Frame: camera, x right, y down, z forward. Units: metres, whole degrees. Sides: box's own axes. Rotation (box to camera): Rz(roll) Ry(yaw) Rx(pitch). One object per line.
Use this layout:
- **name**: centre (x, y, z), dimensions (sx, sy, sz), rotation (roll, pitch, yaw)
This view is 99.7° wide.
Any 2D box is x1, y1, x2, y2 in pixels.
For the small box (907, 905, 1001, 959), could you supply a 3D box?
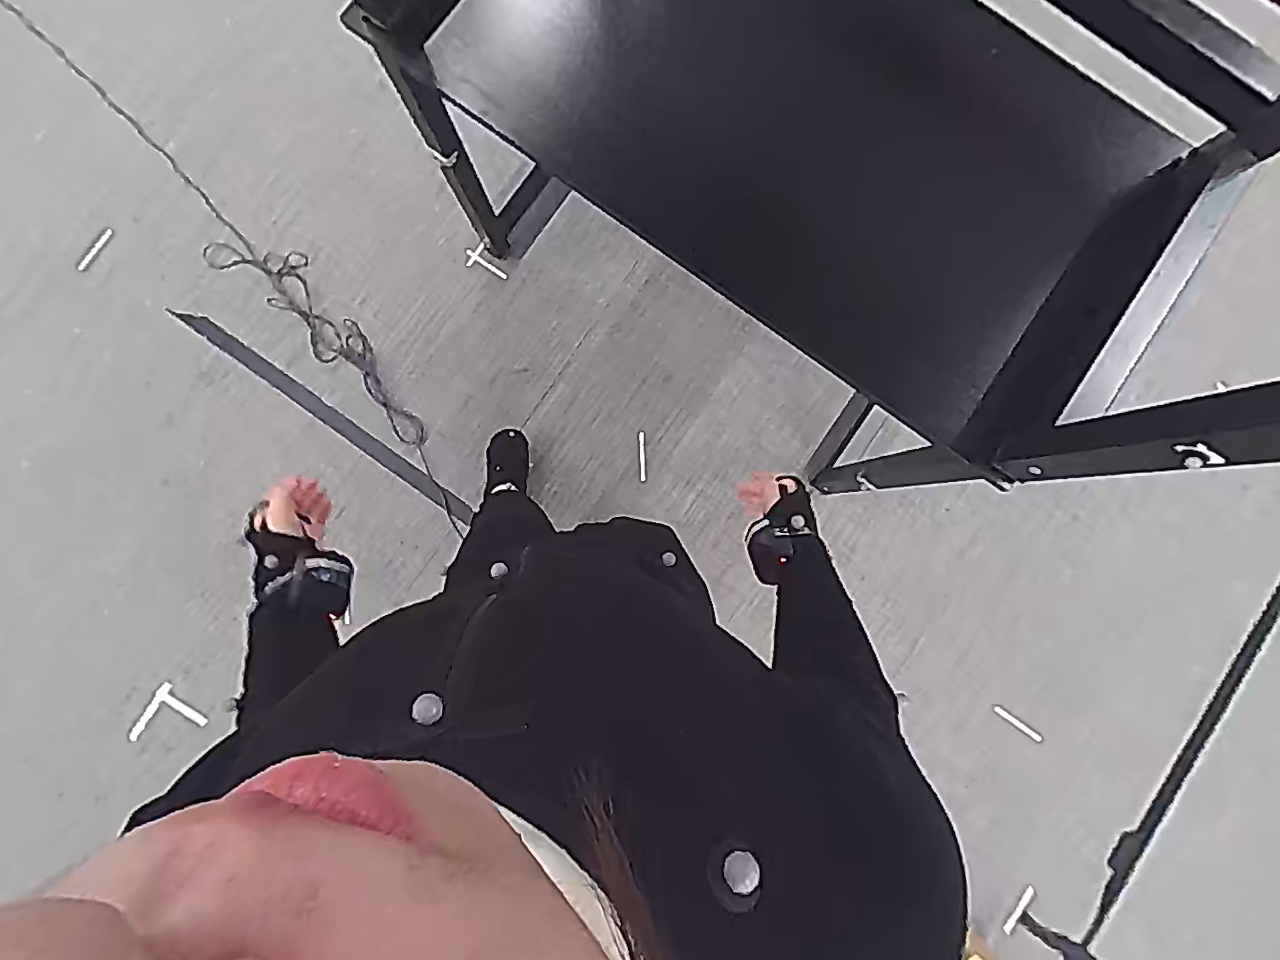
- **small box**: centre (0.813, 1.247, 1.367), dimensions (0.168, 0.176, 0.179), rotation (36, 88, 1)
